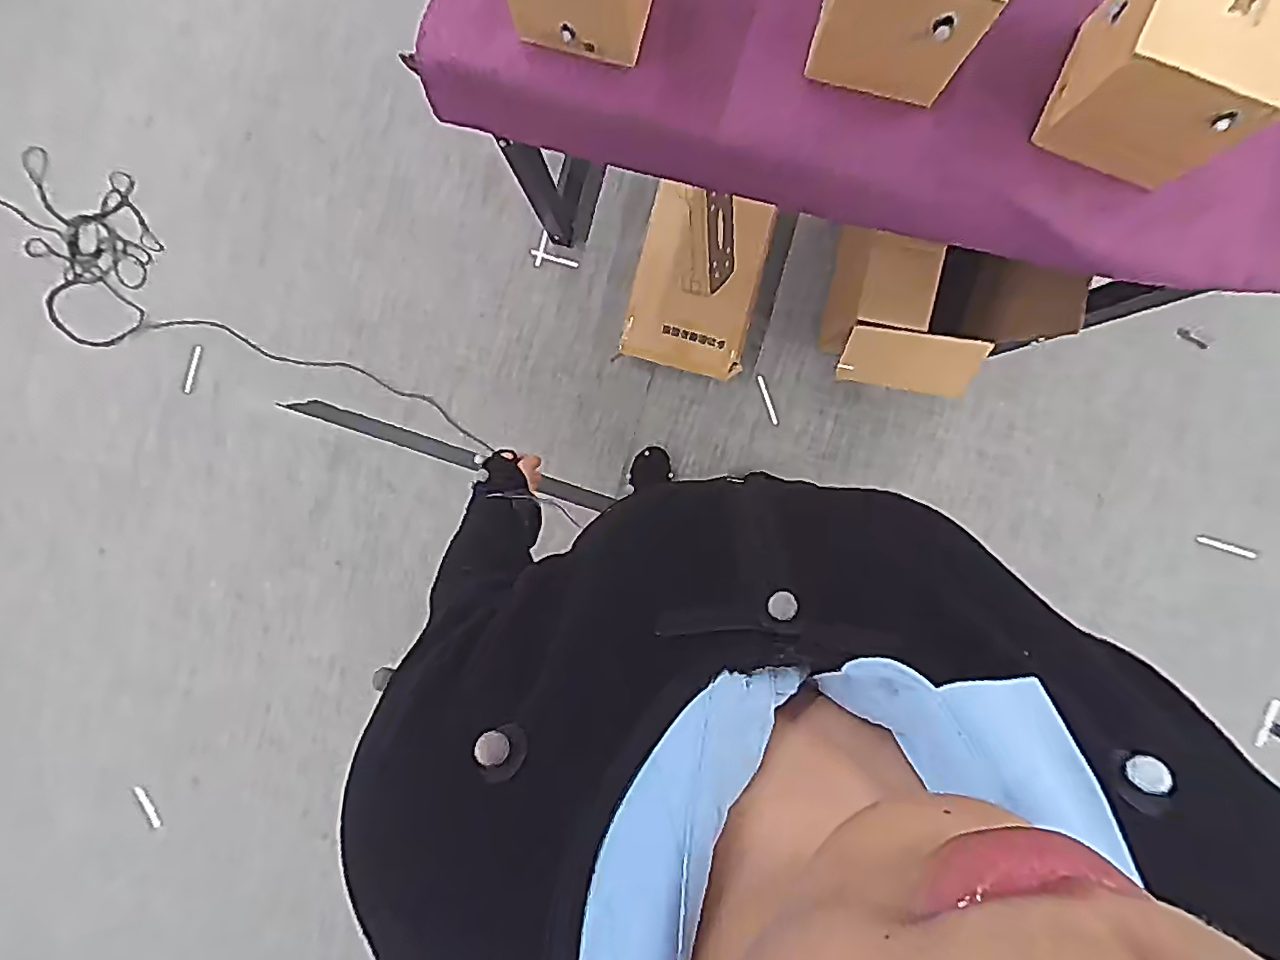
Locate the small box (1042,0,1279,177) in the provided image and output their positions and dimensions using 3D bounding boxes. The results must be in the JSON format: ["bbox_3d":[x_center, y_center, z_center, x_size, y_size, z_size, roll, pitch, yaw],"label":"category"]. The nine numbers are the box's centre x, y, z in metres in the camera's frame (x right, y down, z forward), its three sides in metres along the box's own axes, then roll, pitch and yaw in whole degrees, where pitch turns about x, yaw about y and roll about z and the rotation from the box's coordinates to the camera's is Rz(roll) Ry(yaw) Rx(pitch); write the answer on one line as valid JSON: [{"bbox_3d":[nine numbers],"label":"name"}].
[{"bbox_3d":[0.625,-0.489,0.625,0.179,0.176,0.168,22,94,1],"label":"small box"}]

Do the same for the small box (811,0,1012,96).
[{"bbox_3d":[0.324,-0.596,0.632,0.179,0.176,0.168,15,91,2],"label":"small box"}]
